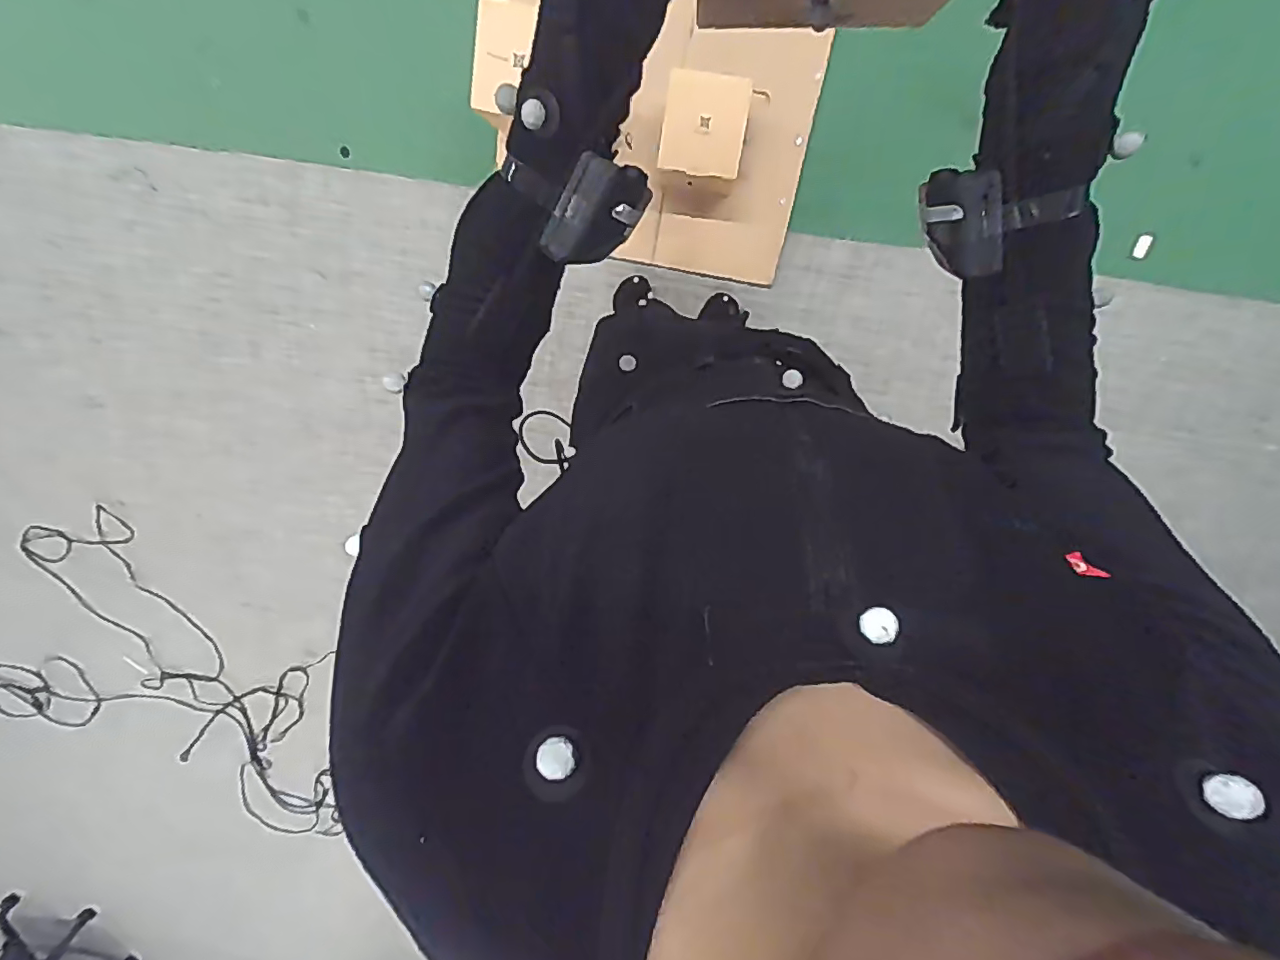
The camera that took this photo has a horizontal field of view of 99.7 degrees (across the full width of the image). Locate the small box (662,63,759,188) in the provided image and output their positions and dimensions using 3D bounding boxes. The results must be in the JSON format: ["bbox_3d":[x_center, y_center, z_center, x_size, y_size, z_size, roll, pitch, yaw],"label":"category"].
[{"bbox_3d":[0.142,-0.731,1.133,0.168,0.176,0.179,9,111,2],"label":"small box"}]

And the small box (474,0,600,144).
[{"bbox_3d":[-0.179,-0.733,0.984,0.179,0.176,0.168,14,111,3],"label":"small box"}]
